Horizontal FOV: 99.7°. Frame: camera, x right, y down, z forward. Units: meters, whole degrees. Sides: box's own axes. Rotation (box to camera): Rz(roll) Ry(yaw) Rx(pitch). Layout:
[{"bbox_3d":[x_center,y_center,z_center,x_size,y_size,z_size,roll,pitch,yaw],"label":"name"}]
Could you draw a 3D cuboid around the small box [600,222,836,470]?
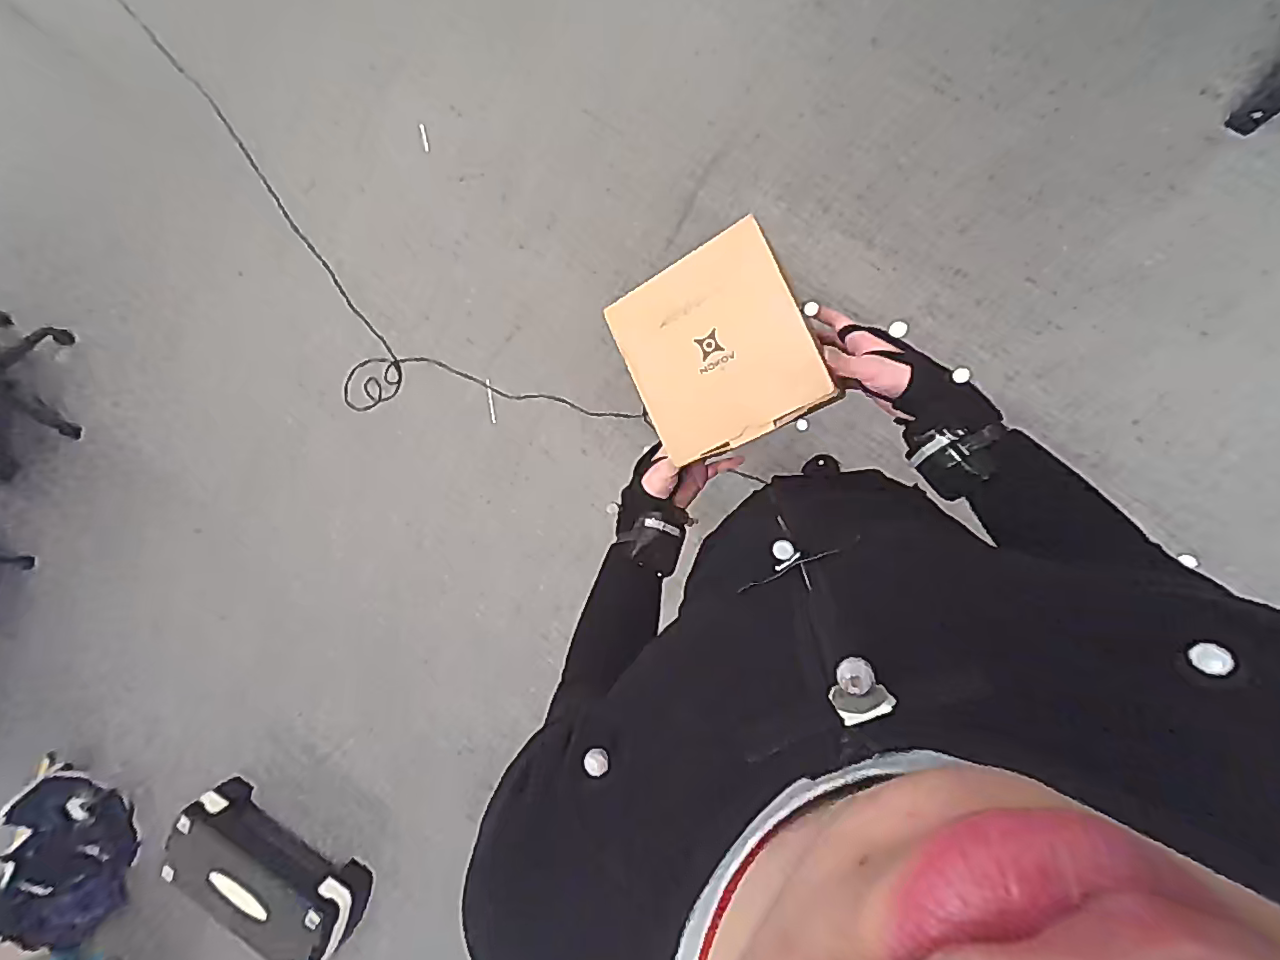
[{"bbox_3d":[0.093,-0.128,0.570,0.168,0.176,0.179,-26,86,24],"label":"small box"}]
